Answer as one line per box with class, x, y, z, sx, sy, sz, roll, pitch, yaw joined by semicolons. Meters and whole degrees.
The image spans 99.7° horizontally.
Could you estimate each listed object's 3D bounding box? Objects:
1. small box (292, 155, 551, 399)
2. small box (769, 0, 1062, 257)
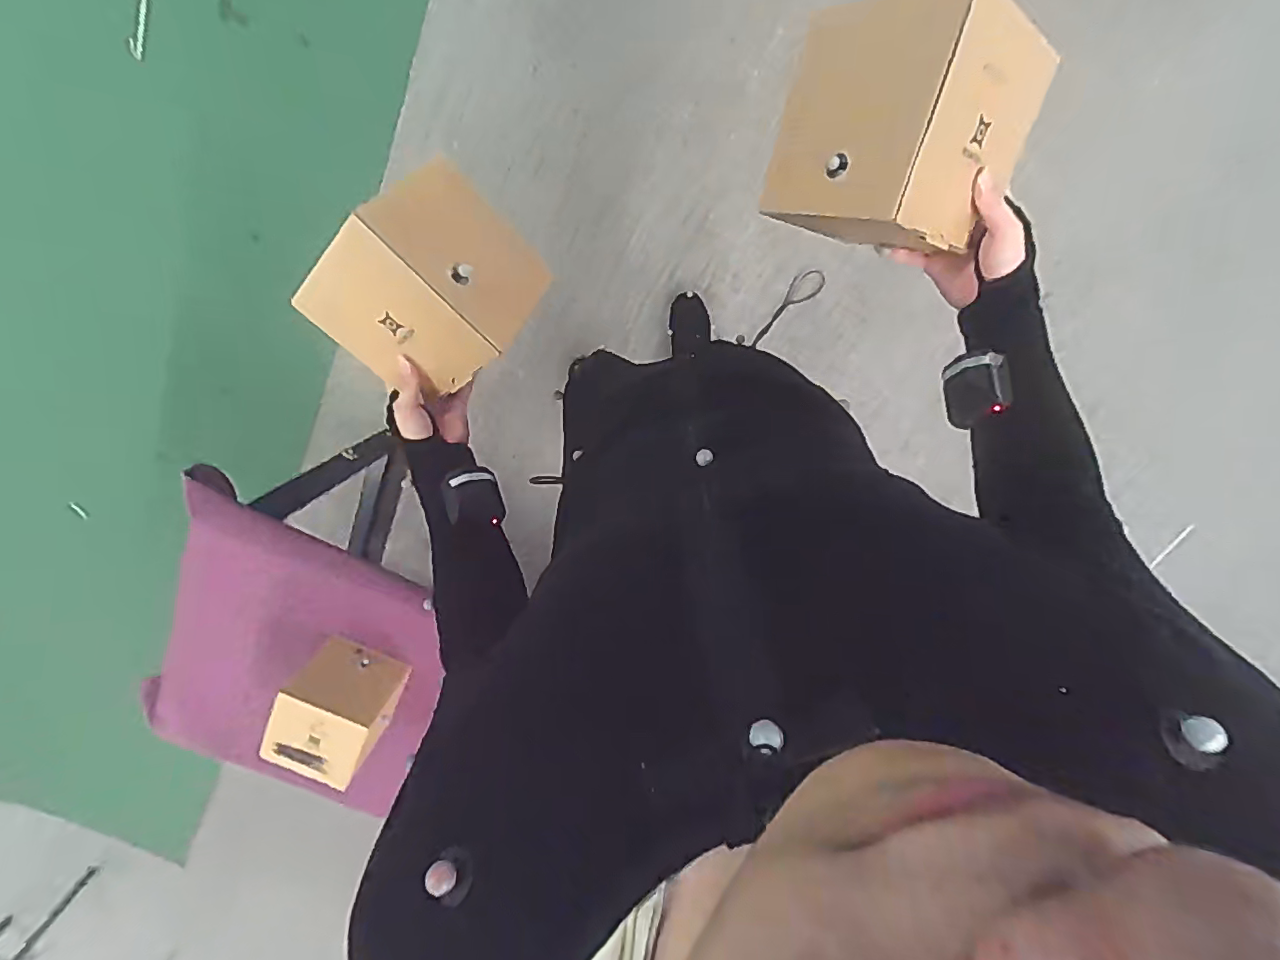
small box;-0.235;-0.230;0.610;0.168;0.176;0.179;-20;128;39
small box;0.254;-0.337;0.532;0.168;0.176;0.179;-2;116;-37
